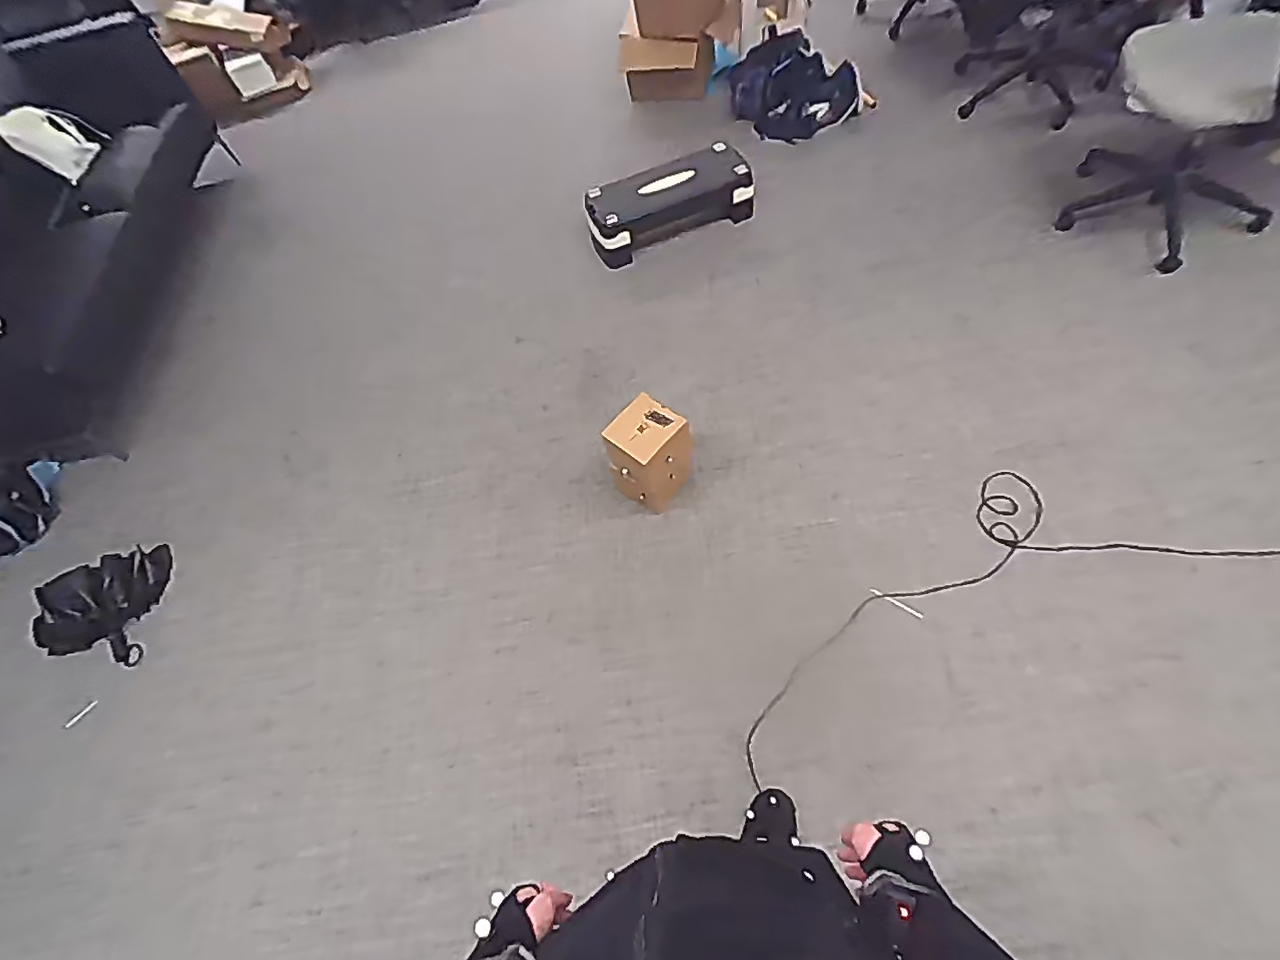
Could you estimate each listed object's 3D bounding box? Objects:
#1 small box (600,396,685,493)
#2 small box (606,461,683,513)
[{"bbox_3d":[0.014,-0.097,1.528,0.168,0.176,0.179,36,73,25],"label":"small box"},{"bbox_3d":[0.023,-0.027,1.677,0.168,0.176,0.179,28,68,22],"label":"small box"}]
